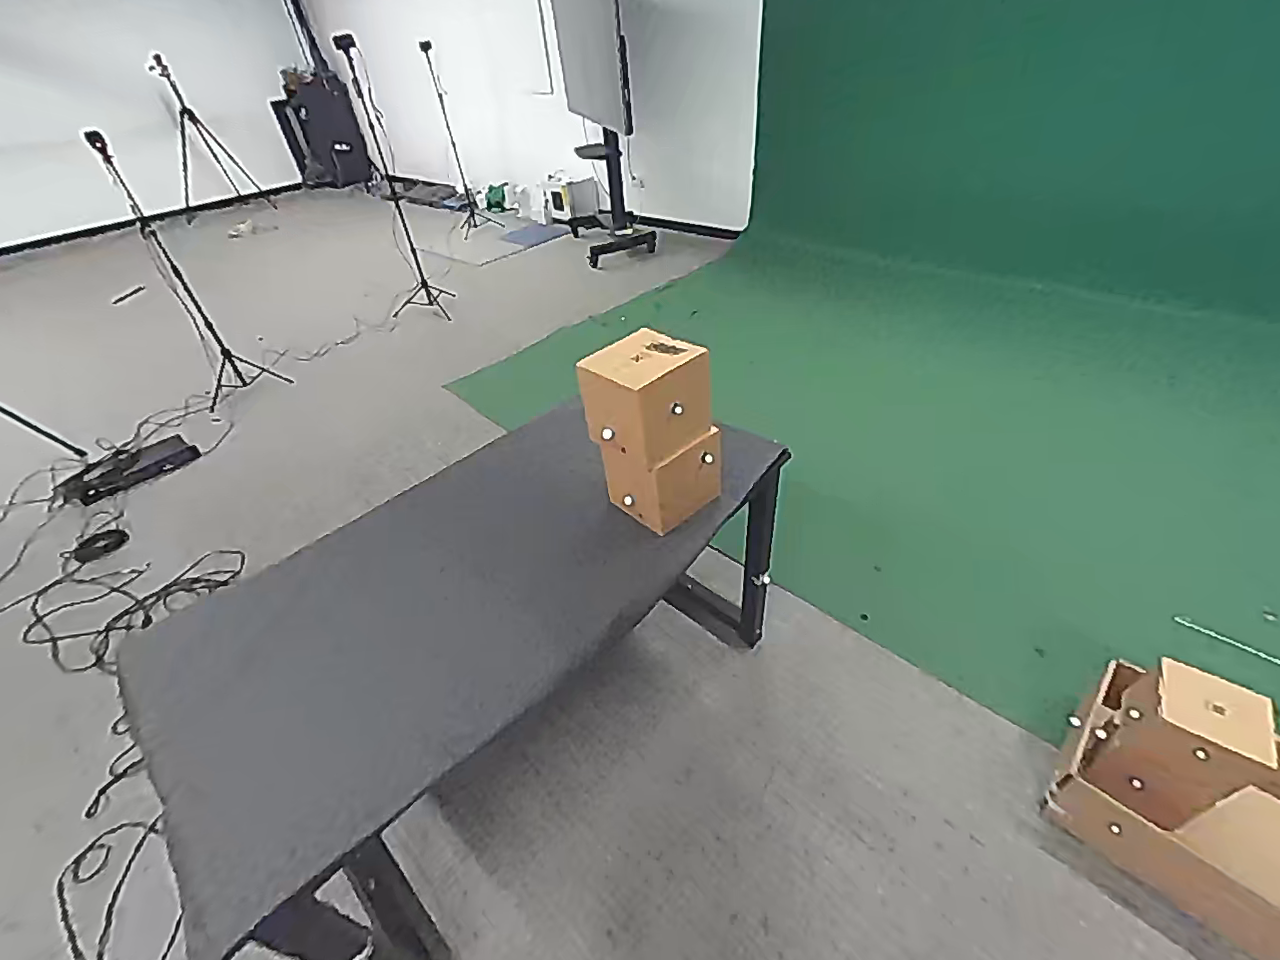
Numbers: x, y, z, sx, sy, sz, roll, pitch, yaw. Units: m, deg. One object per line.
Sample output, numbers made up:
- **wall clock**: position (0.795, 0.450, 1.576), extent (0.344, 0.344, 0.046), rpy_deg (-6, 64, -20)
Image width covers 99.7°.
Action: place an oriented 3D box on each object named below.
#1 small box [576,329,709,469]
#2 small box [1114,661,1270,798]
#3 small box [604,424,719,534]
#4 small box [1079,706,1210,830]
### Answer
- **small box**: position (0.009, -0.150, 0.989), extent (0.179, 0.176, 0.168), rpy_deg (-34, 46, -28)
- **small box**: position (1.140, 0.524, 1.133), extent (0.179, 0.176, 0.168), rpy_deg (24, 49, 27)
- **small box**: position (0.042, -0.025, 1.091), extent (0.179, 0.176, 0.168), rpy_deg (-33, 45, -28)
- **small box**: position (1.155, 0.650, 1.236), extent (0.168, 0.176, 0.179), rpy_deg (-35, 48, -30)
